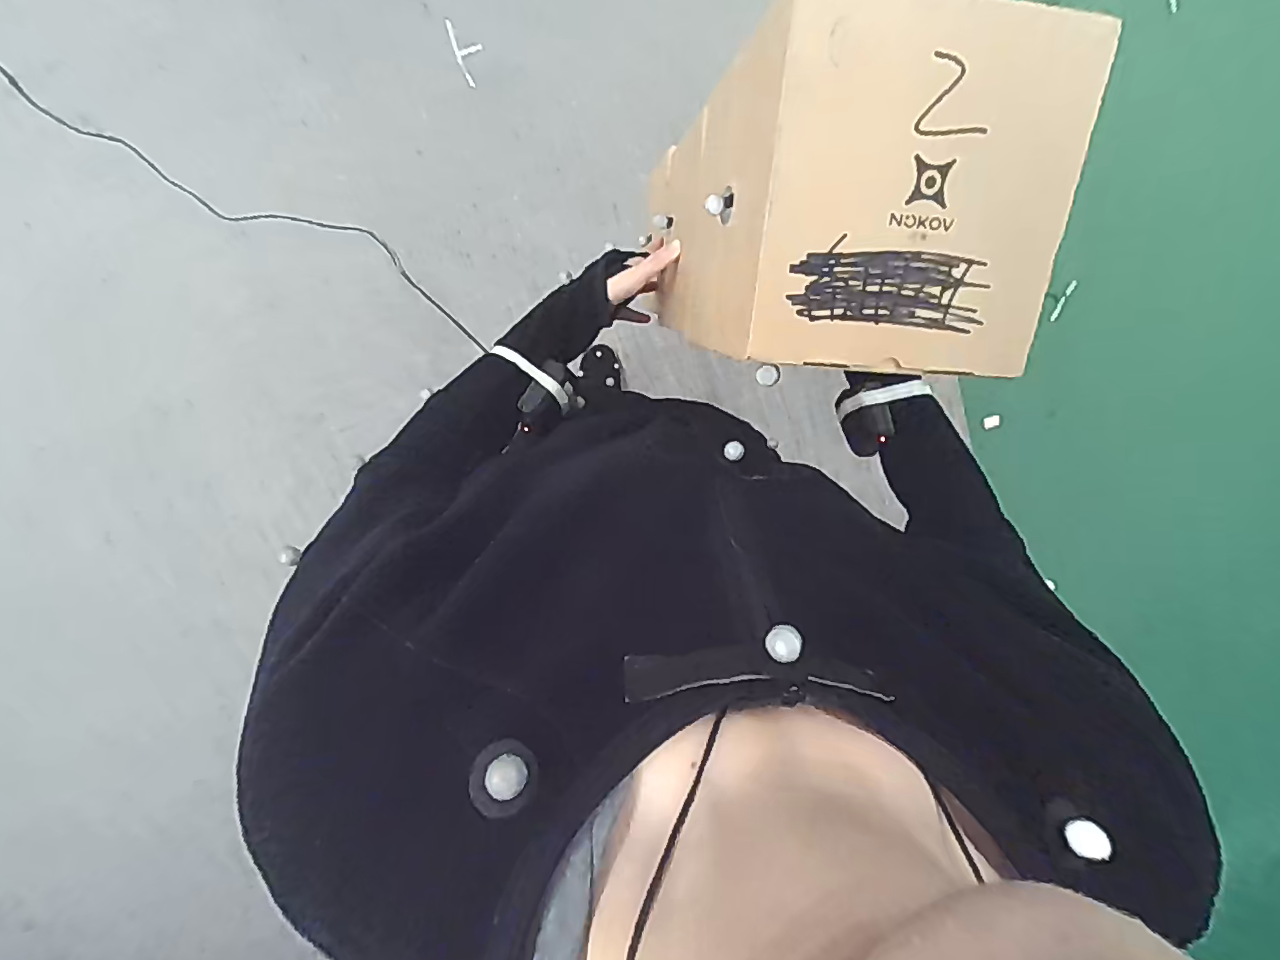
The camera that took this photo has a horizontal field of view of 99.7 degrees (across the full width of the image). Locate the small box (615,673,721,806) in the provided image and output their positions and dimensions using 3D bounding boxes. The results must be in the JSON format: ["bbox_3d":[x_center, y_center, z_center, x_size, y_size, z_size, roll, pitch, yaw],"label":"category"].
[{"bbox_3d":[0.055,0.554,1.177,0.179,0.176,0.168,-21,101,-1],"label":"small box"}]

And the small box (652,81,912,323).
[{"bbox_3d":[0.113,-0.241,0.508,0.179,0.176,0.168,0,108,-7],"label":"small box"}]

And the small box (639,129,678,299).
[{"bbox_3d":[0.097,-0.305,0.657,0.179,0.176,0.168,-1,108,-6],"label":"small box"}]
